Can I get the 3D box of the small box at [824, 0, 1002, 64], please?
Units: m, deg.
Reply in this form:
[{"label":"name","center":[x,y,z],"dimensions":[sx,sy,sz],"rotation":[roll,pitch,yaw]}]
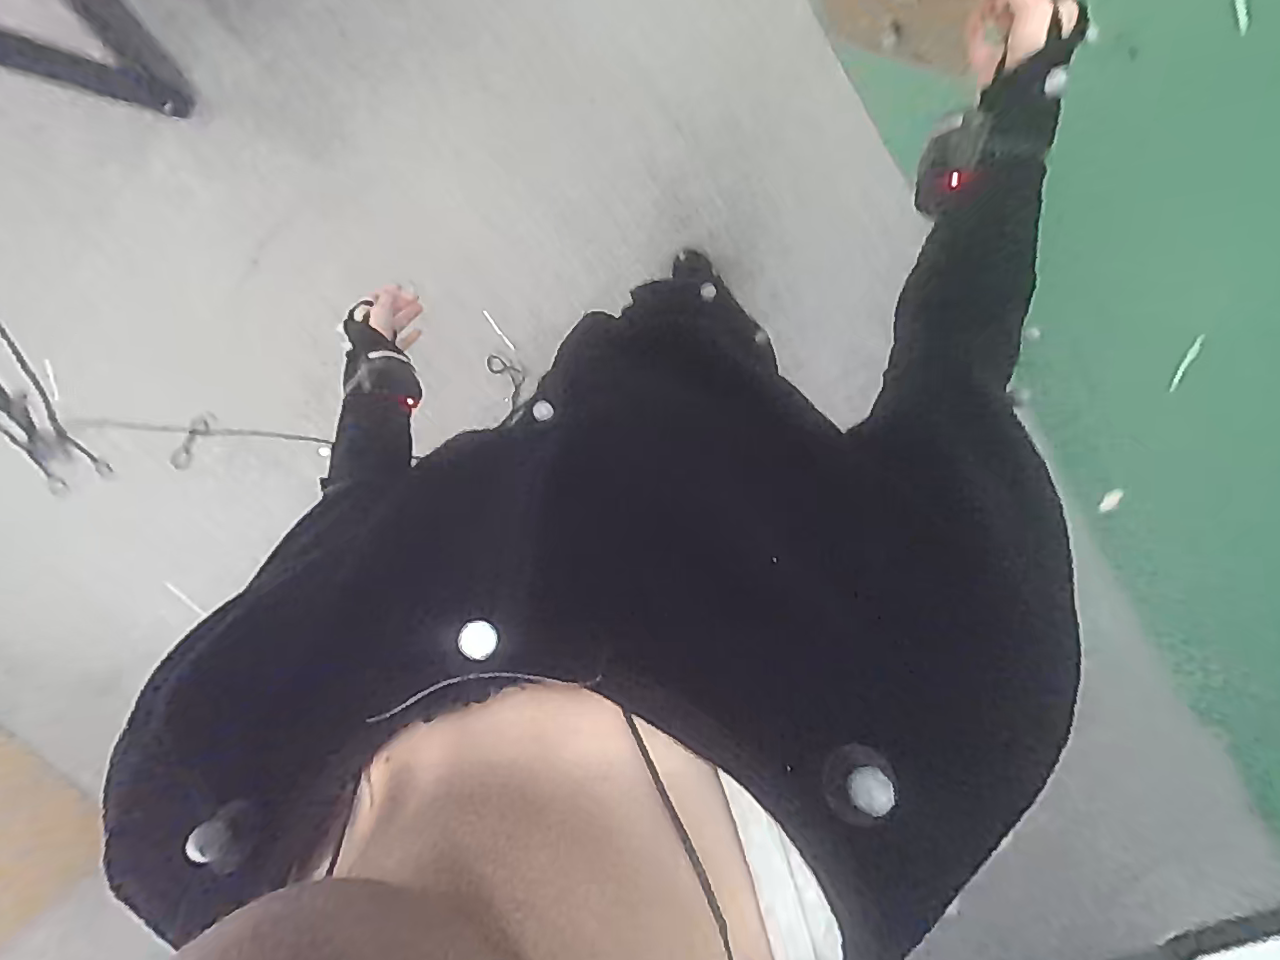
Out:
[{"label":"small box","center":[0.278,-0.530,0.499],"dimensions":[0.168,0.176,0.179],"rotation":[31,117,15]}]
